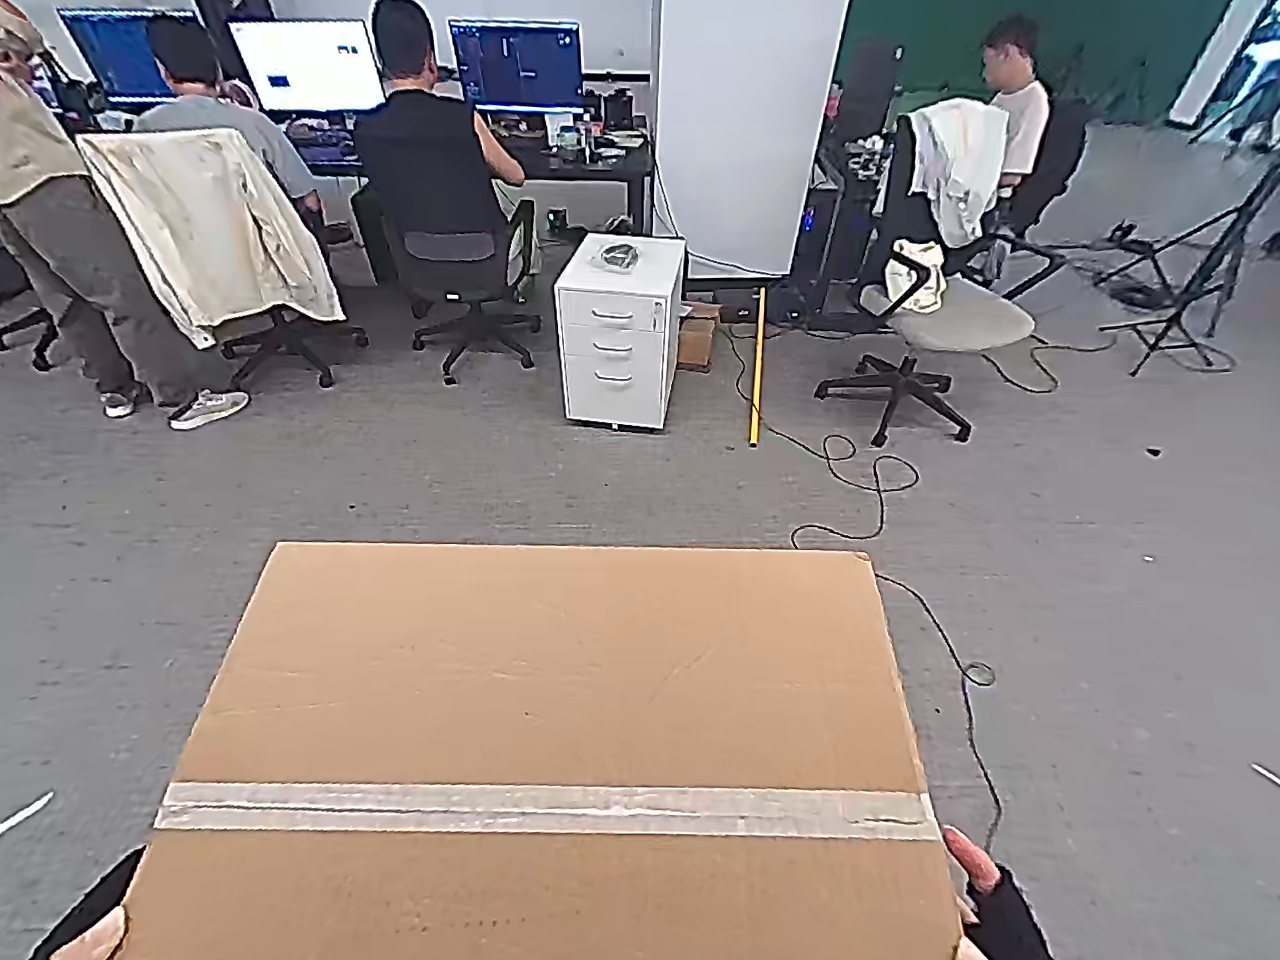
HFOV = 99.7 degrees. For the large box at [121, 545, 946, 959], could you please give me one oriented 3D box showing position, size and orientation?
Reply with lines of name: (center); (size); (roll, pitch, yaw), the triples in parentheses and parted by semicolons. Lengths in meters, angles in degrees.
large box: (-0.051, 0.258, 0.421); (0.408, 0.320, 0.320); (1, 56, 0)
